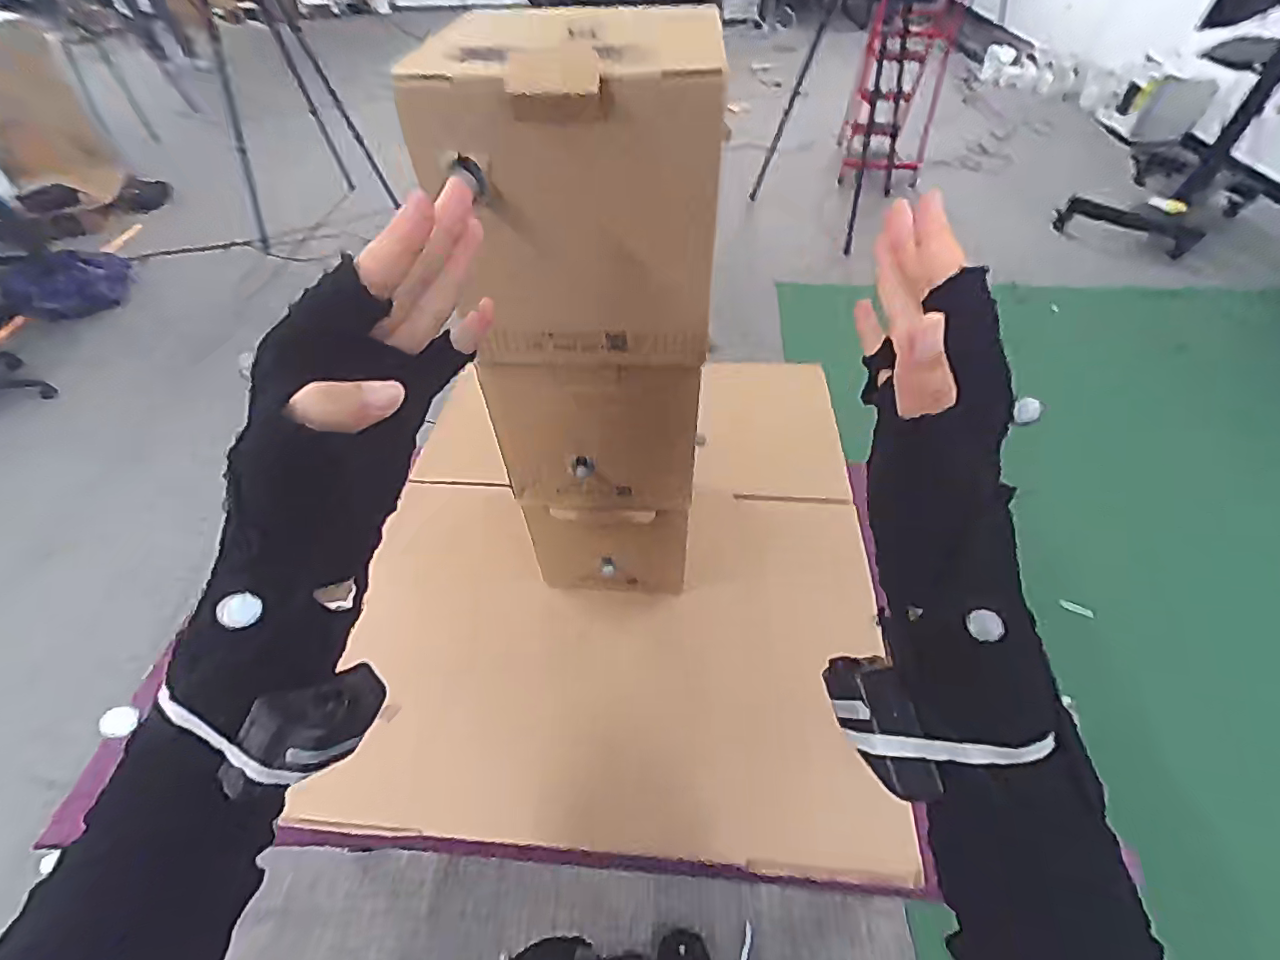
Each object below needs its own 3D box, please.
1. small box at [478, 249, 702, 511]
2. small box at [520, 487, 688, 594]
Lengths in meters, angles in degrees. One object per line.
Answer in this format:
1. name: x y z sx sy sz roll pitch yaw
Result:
1. small box: -0.032 -0.092 0.502 0.168 0.176 0.179 1 50 3
2. small box: -0.026 0.010 0.629 0.168 0.176 0.179 3 49 5
